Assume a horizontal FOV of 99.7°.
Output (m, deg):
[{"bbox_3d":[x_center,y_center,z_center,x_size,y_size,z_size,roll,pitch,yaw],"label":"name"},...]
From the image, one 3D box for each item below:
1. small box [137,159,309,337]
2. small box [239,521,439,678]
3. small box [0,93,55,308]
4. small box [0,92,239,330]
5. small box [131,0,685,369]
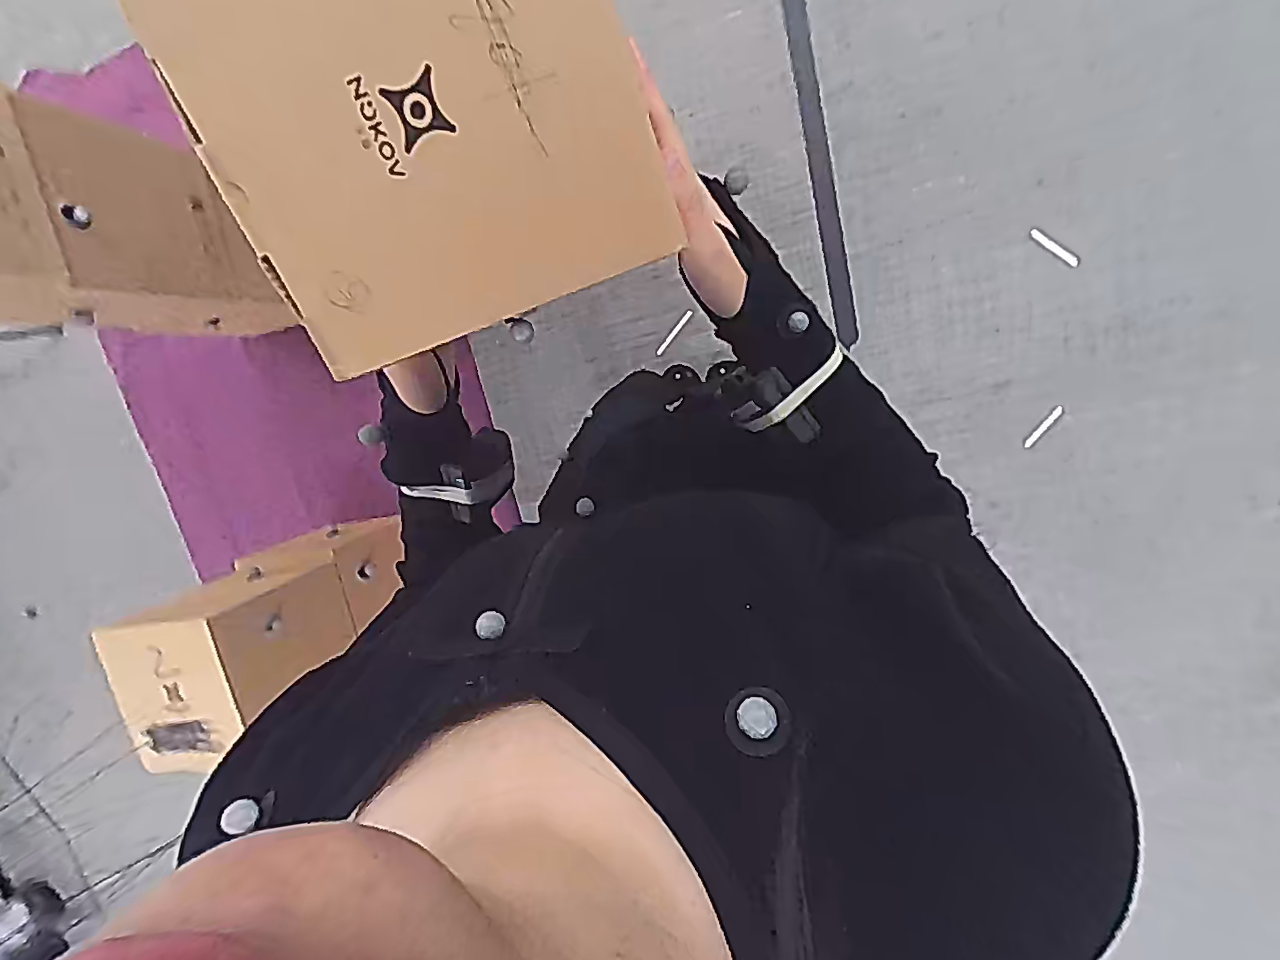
[{"bbox_3d":[-0.547,-0.291,0.723,0.179,0.176,0.168,-9,101,14],"label":"small box"},{"bbox_3d":[-0.429,0.166,0.798,0.168,0.176,0.179,-8,101,15],"label":"small box"},{"bbox_3d":[-0.609,-0.223,0.409,0.179,0.176,0.168,-7,101,15],"label":"small box"},{"bbox_3d":[-0.579,-0.256,0.566,0.179,0.176,0.168,-7,102,15],"label":"small box"},{"bbox_3d":[-0.082,-0.175,0.283,0.179,0.176,0.168,-17,112,10],"label":"small box"}]
